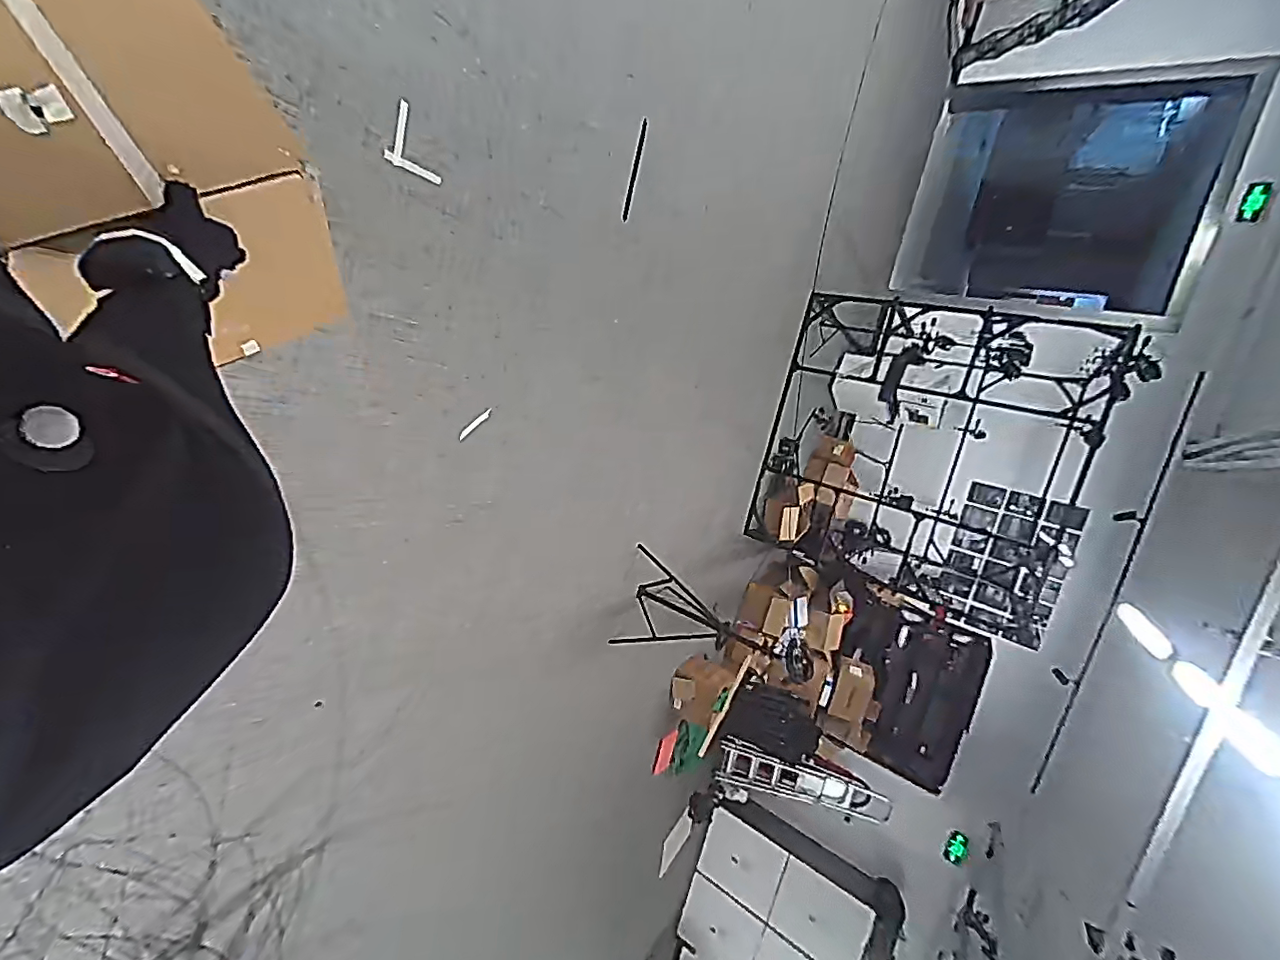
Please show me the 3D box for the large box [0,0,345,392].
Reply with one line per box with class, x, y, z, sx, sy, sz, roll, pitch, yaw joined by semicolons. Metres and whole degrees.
large box;-0.663;-0.397;0.704;0.320;0.408;0.320;-37;-179;-25
